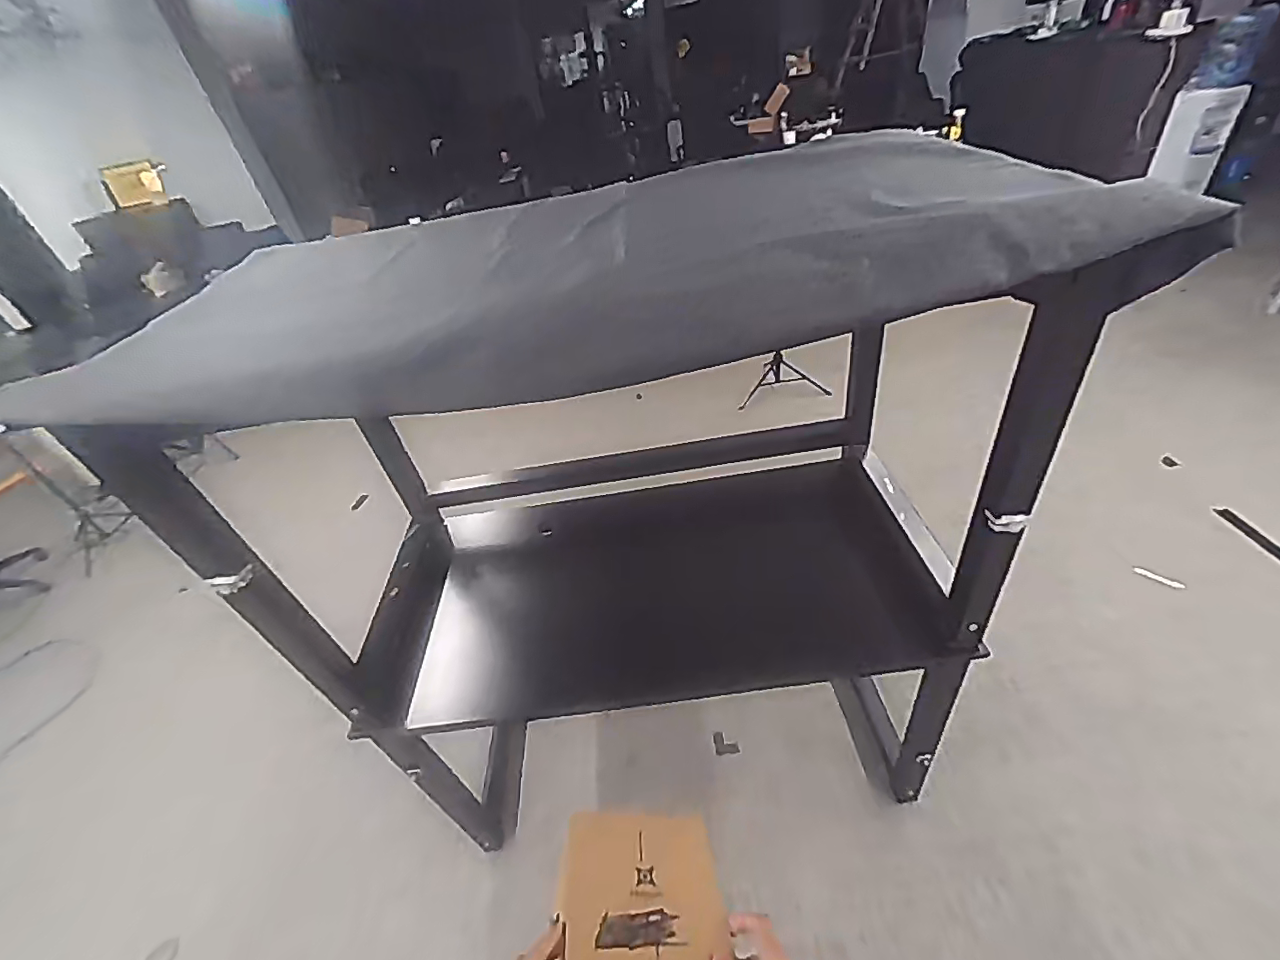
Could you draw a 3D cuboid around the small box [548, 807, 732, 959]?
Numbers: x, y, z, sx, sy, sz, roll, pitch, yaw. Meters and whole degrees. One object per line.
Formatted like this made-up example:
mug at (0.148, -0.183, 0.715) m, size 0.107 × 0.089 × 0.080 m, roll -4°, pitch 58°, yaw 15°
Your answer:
small box at (-0.011, 0.498, 0.587) m, size 0.168 × 0.176 × 0.179 m, roll 9°, pitch 14°, yaw -7°
